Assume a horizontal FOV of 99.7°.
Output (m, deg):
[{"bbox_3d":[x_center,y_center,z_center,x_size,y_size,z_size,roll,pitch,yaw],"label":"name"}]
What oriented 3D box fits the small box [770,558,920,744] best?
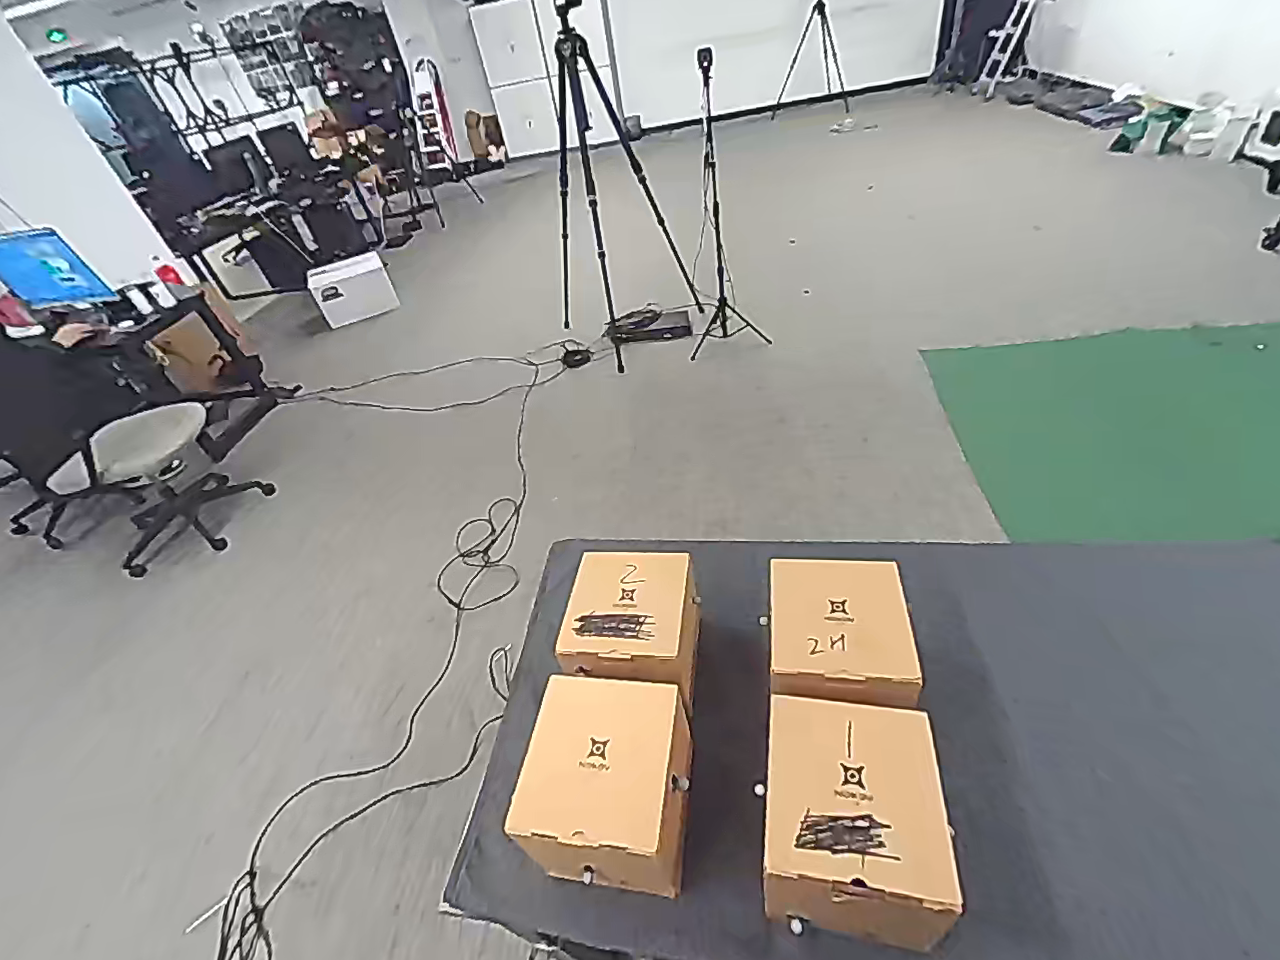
[{"bbox_3d":[0.263,0.228,0.736,0.168,0.176,0.179,-1,42,14],"label":"small box"}]
